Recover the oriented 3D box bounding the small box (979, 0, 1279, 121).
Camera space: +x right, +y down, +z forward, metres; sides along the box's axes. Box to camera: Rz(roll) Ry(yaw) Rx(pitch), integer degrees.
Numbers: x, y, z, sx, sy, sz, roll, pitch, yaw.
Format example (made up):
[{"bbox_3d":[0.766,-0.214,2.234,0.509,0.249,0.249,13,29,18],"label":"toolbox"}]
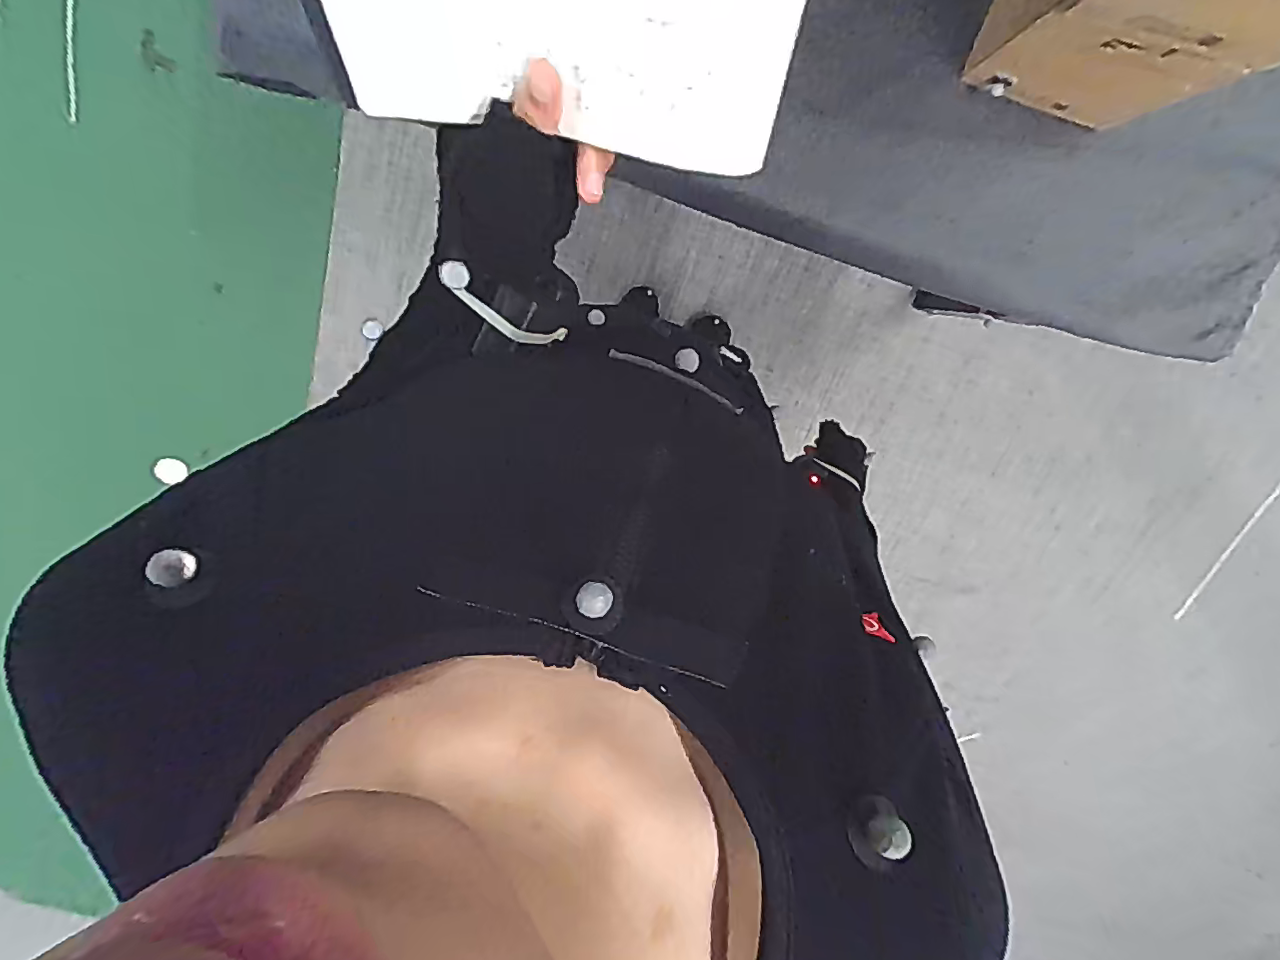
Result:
[{"bbox_3d":[0.438,-0.449,0.469,0.168,0.176,0.179,18,109,-2],"label":"small box"}]
